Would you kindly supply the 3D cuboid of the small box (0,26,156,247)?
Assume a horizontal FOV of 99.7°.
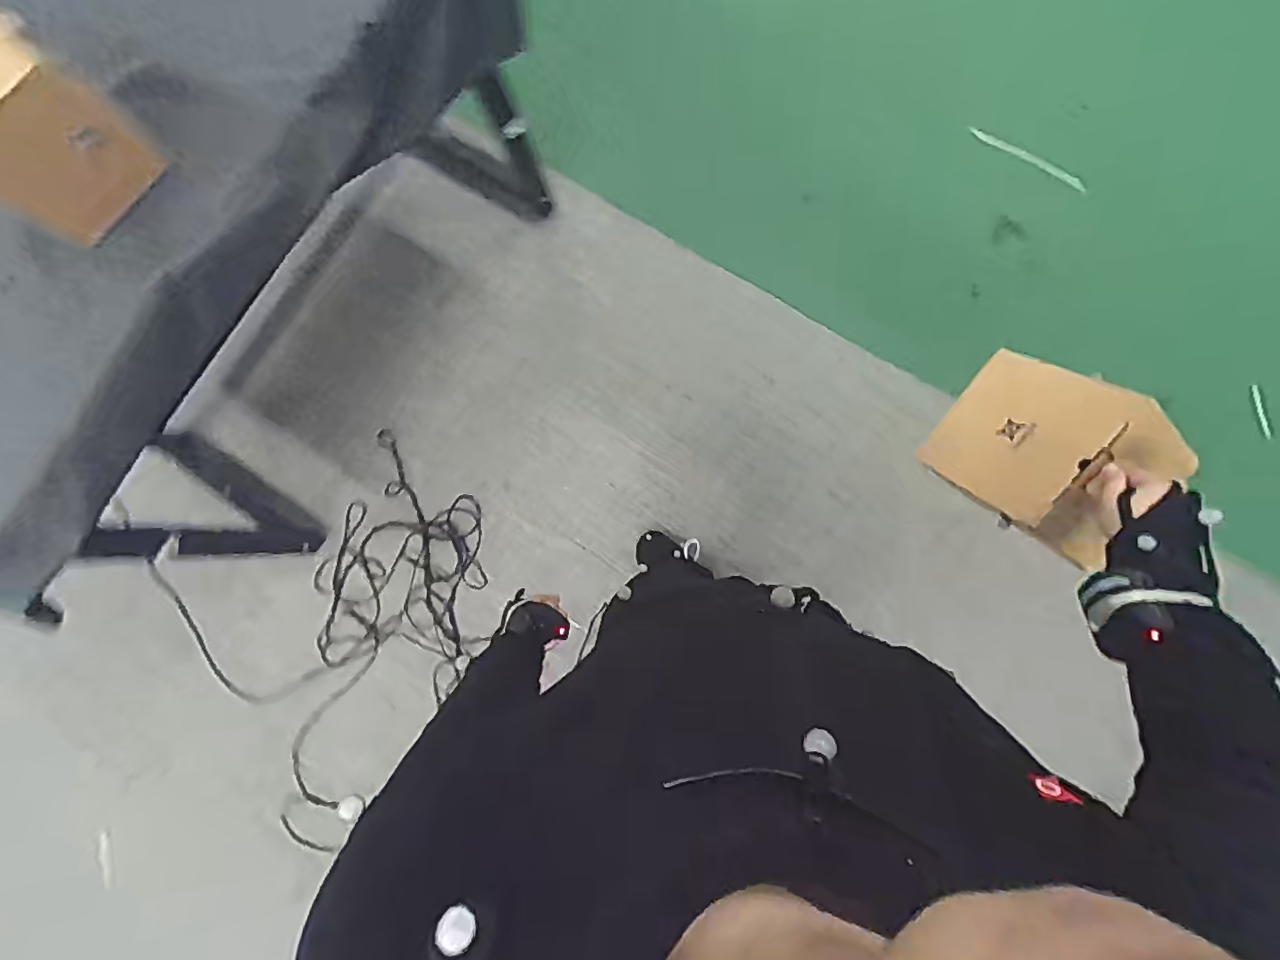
[{"bbox_3d":[-0.806,-0.456,0.717,0.168,0.176,0.179,41,90,10],"label":"small box"}]
